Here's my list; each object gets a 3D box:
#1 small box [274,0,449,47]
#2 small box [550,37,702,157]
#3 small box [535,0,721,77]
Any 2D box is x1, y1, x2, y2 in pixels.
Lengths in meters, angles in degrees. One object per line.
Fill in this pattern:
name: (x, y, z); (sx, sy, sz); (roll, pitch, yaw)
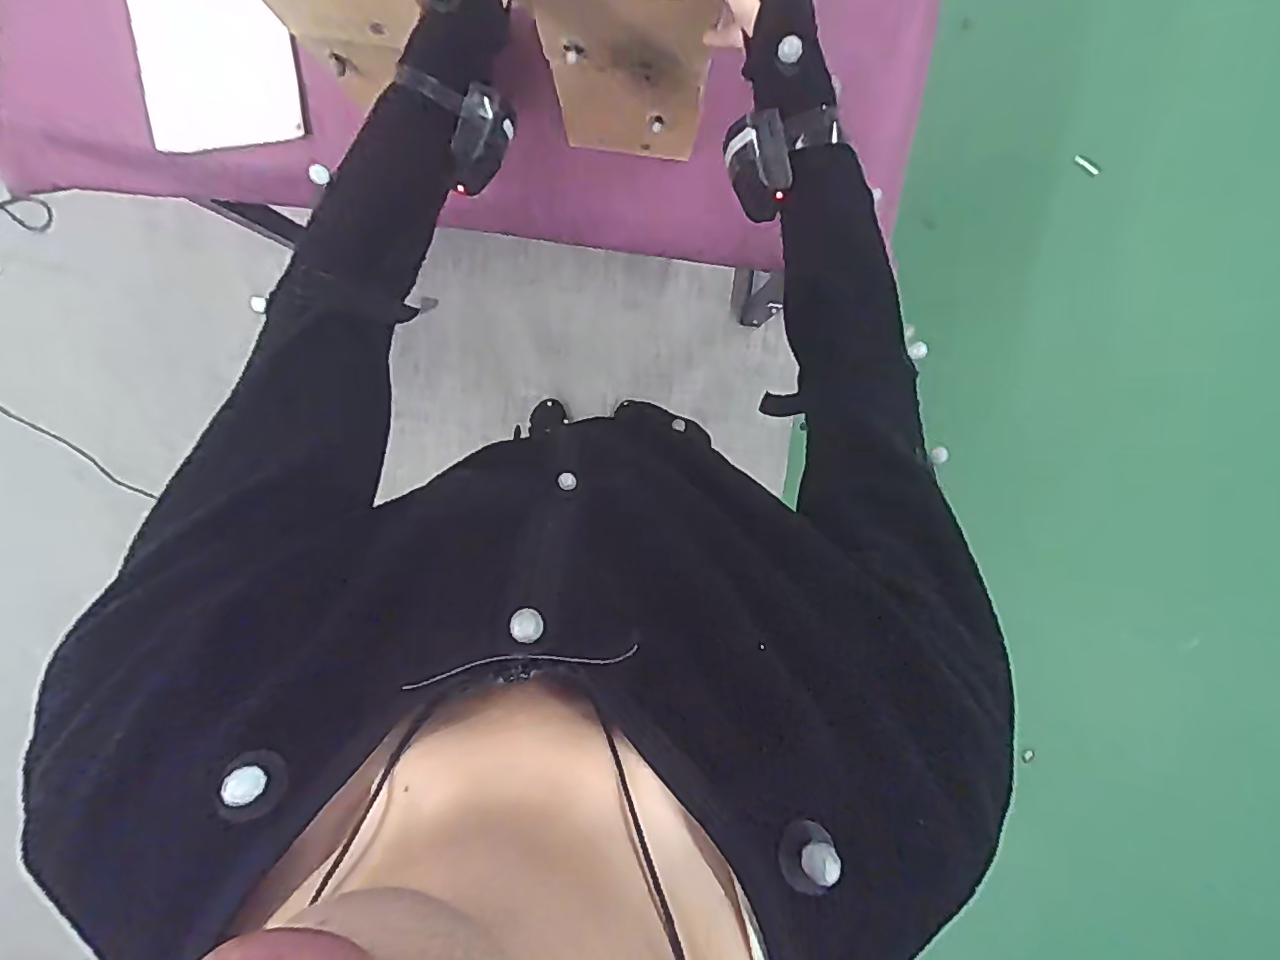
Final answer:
small box: (-0.271, -0.531, 0.474); (0.168, 0.176, 0.179); (7, 94, -1)
small box: (-0.005, -0.520, 0.643); (0.168, 0.176, 0.179); (8, 94, -2)
small box: (-0.002, -0.487, 0.460); (0.168, 0.176, 0.179); (7, 101, -3)
